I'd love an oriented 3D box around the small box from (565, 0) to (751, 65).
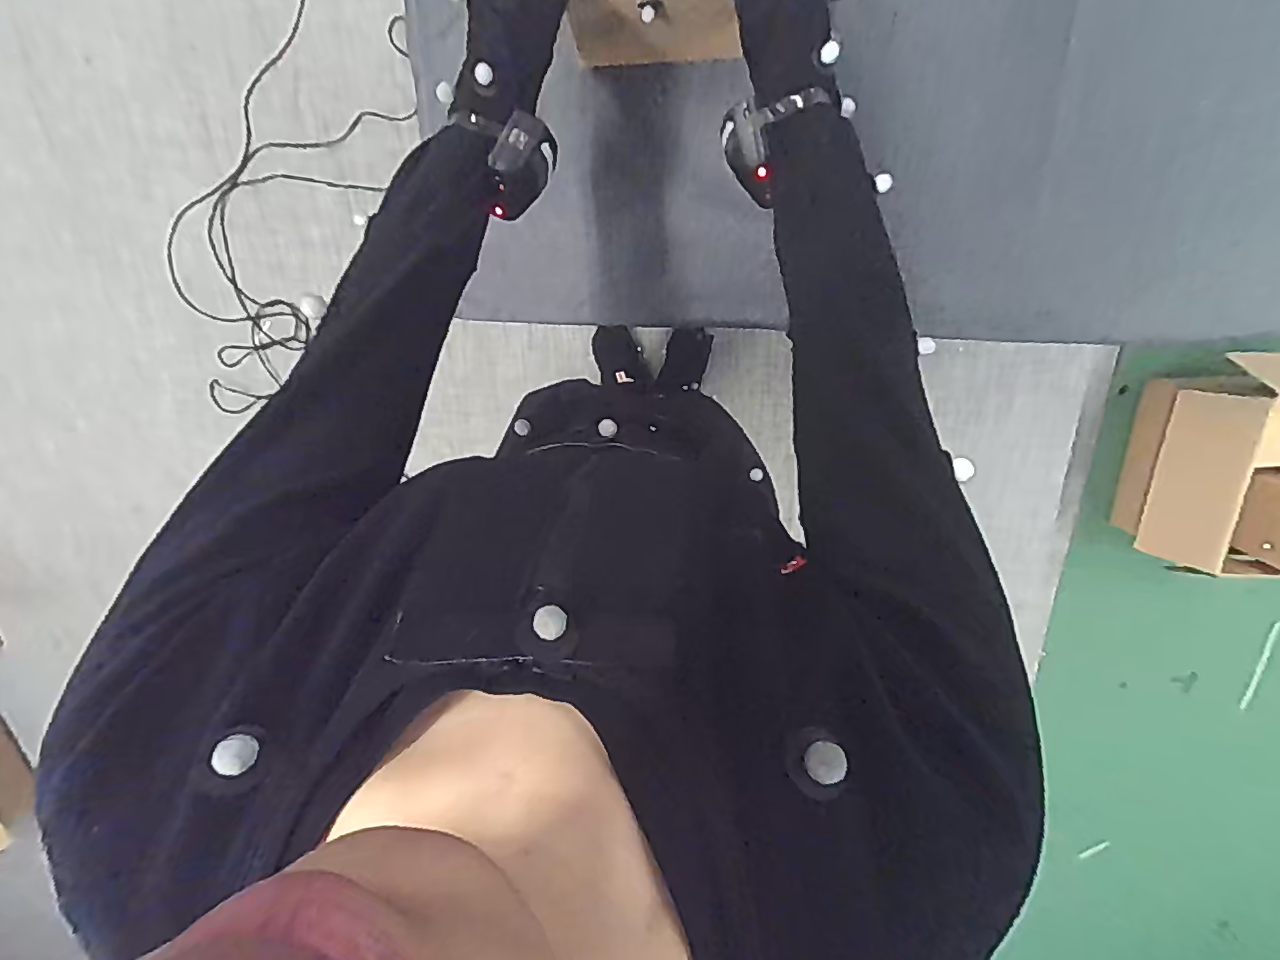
[{"bbox_3d":[0.014,-0.501,0.482,0.179,0.176,0.168,-2,109,2],"label":"small box"}]
